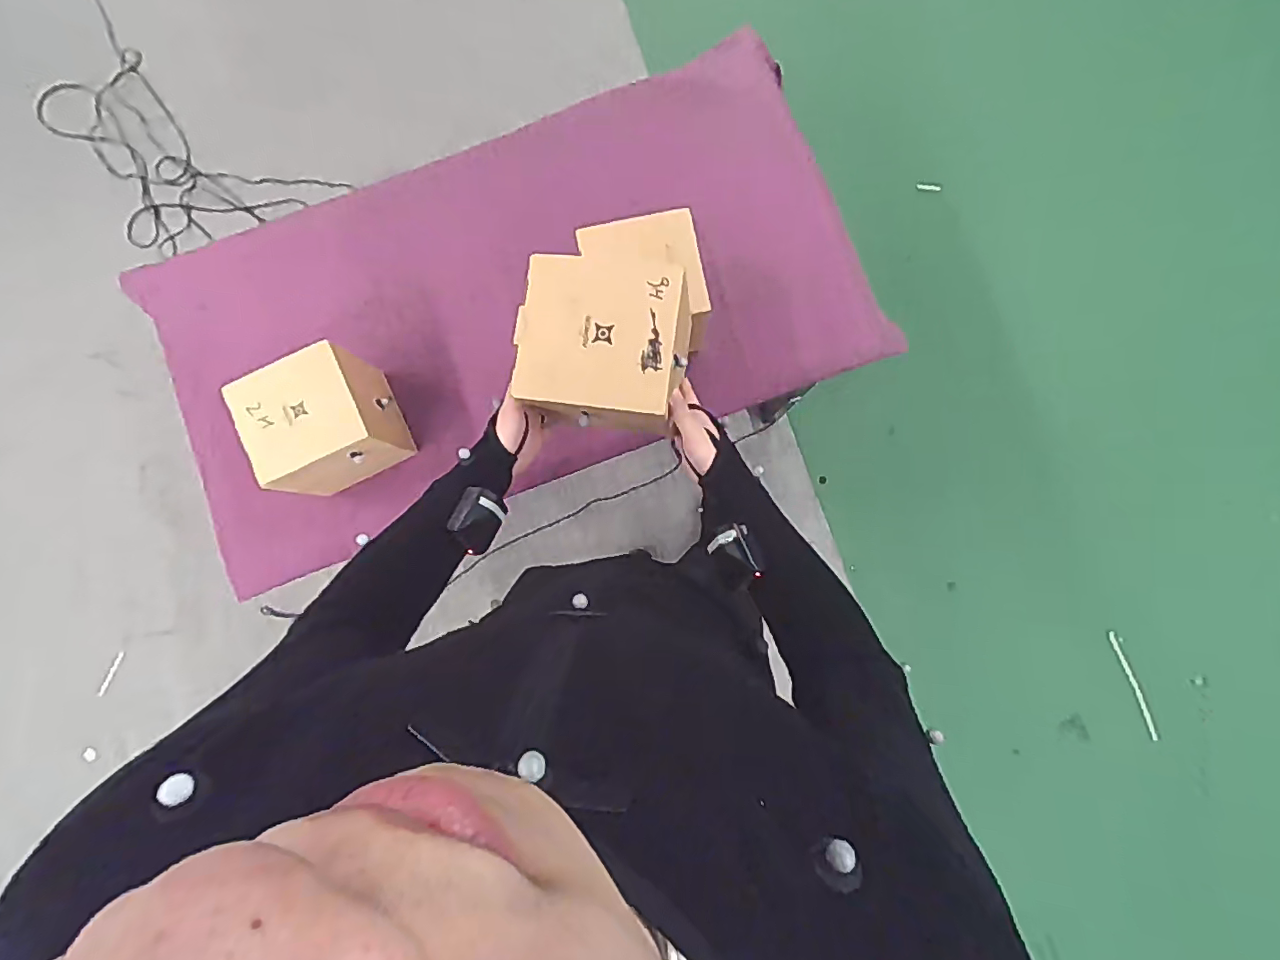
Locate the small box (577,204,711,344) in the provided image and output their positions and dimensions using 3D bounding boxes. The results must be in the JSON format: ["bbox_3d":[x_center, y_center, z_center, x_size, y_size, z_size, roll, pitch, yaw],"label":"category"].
[{"bbox_3d":[0.009,-0.305,0.869,0.179,0.176,0.168,-11,85,1],"label":"small box"}]

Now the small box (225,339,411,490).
[{"bbox_3d":[-0.495,-0.095,0.865,0.179,0.176,0.168,-26,84,0],"label":"small box"}]

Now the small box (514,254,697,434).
[{"bbox_3d":[-0.031,-0.154,0.661,0.179,0.176,0.168,8,89,8],"label":"small box"}]
